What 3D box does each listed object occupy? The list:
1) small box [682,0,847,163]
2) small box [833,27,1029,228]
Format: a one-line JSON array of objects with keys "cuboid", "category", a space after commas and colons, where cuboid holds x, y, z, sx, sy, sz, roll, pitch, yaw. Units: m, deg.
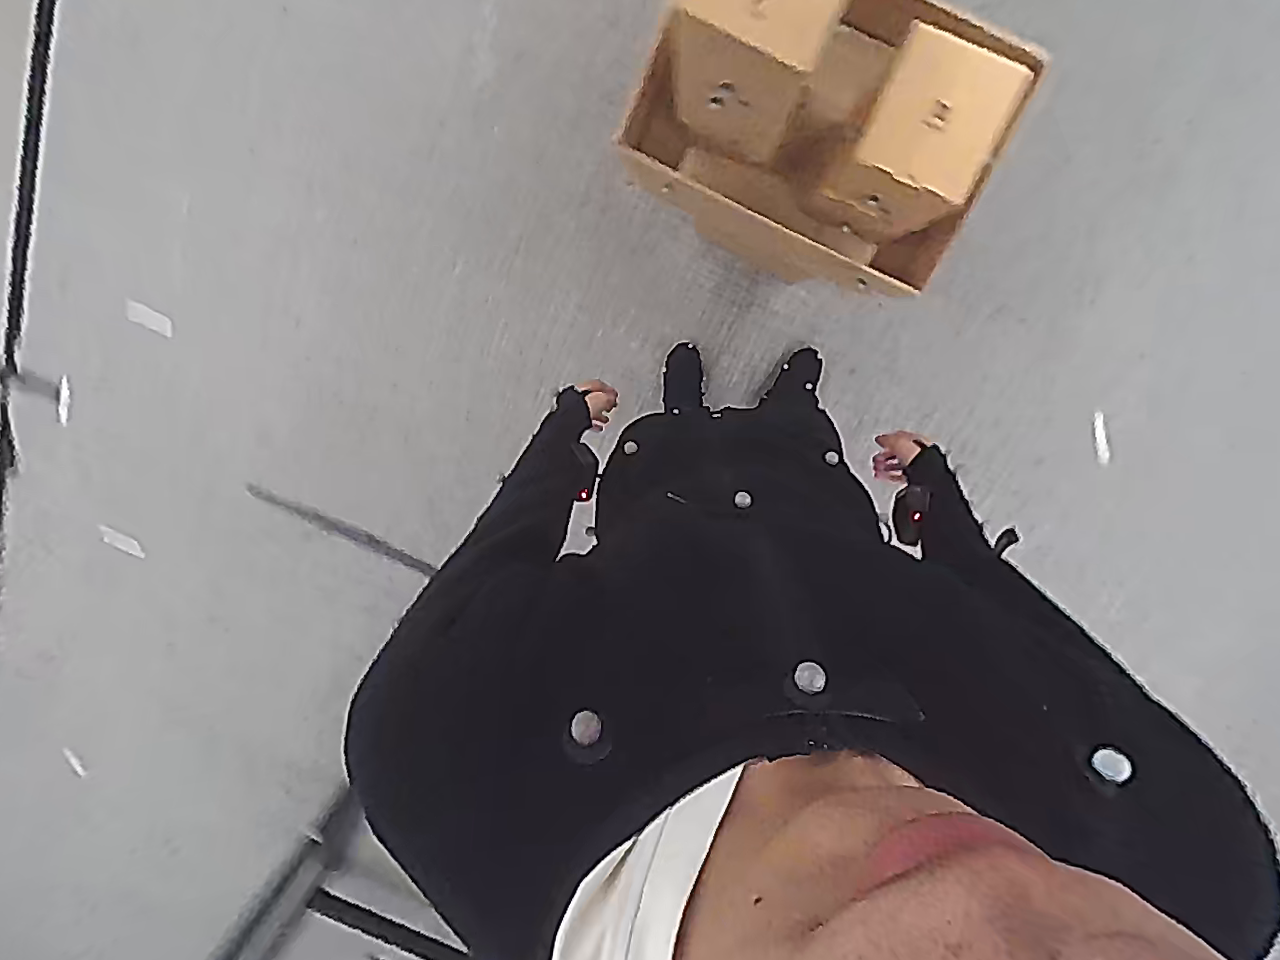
[{"cuboid": [0.171, -0.618, 0.803, 0.168, 0.176, 0.179, 27, 104, -1], "category": "small box"}, {"cuboid": [0.414, -0.507, 0.809, 0.168, 0.176, 0.179, 23, 106, -1], "category": "small box"}]
